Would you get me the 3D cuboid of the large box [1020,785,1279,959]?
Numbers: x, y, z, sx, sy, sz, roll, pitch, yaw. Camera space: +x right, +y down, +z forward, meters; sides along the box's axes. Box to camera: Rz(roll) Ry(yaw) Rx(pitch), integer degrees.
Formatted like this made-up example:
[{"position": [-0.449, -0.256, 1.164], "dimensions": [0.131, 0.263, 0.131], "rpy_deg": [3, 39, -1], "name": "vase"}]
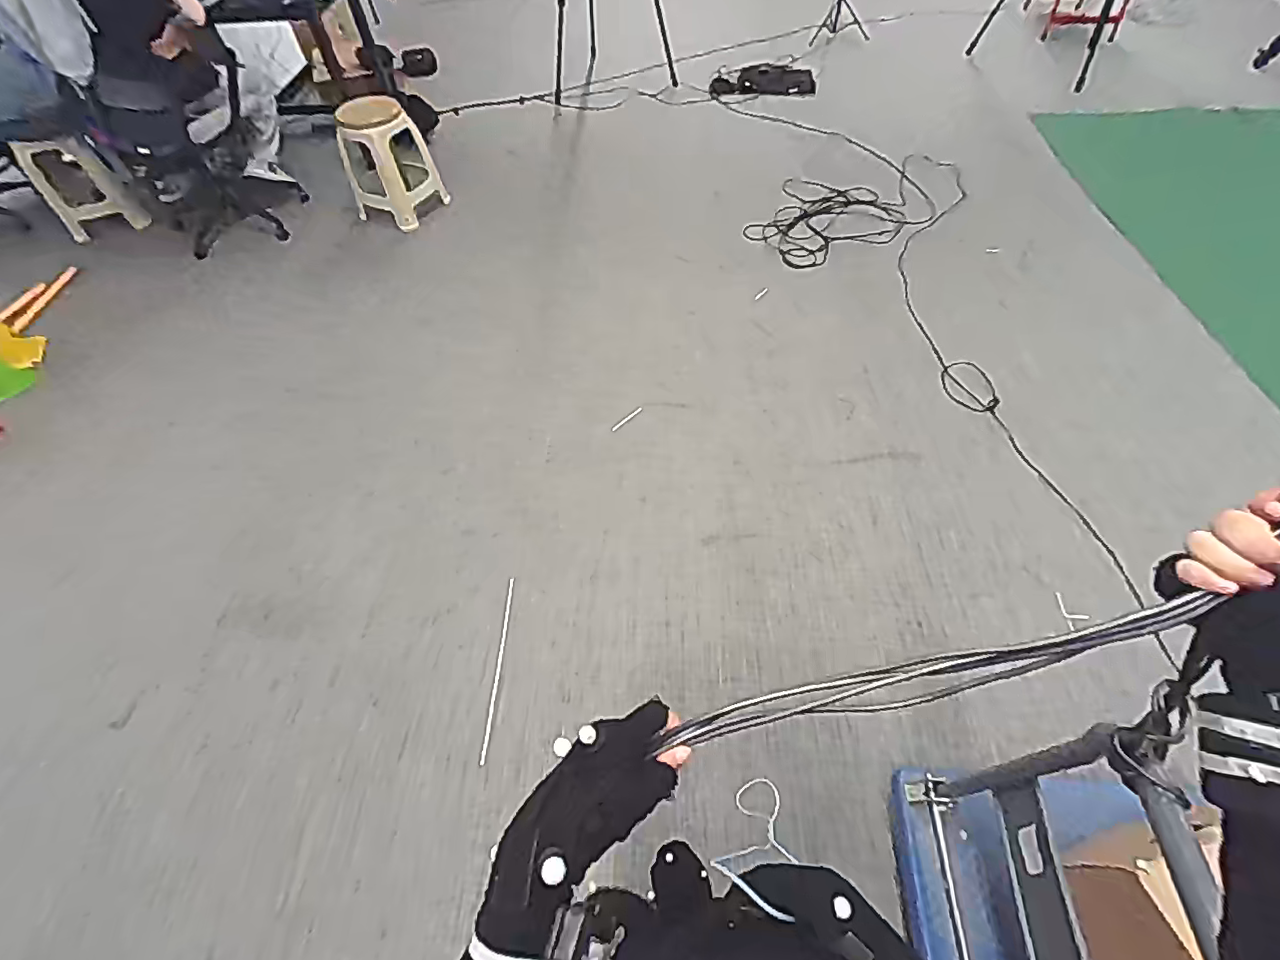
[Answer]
[{"position": [0.907, 0.742, 0.811], "dimensions": [0.320, 0.320, 0.408], "rpy_deg": [-16, 55, -8], "name": "large box"}]
